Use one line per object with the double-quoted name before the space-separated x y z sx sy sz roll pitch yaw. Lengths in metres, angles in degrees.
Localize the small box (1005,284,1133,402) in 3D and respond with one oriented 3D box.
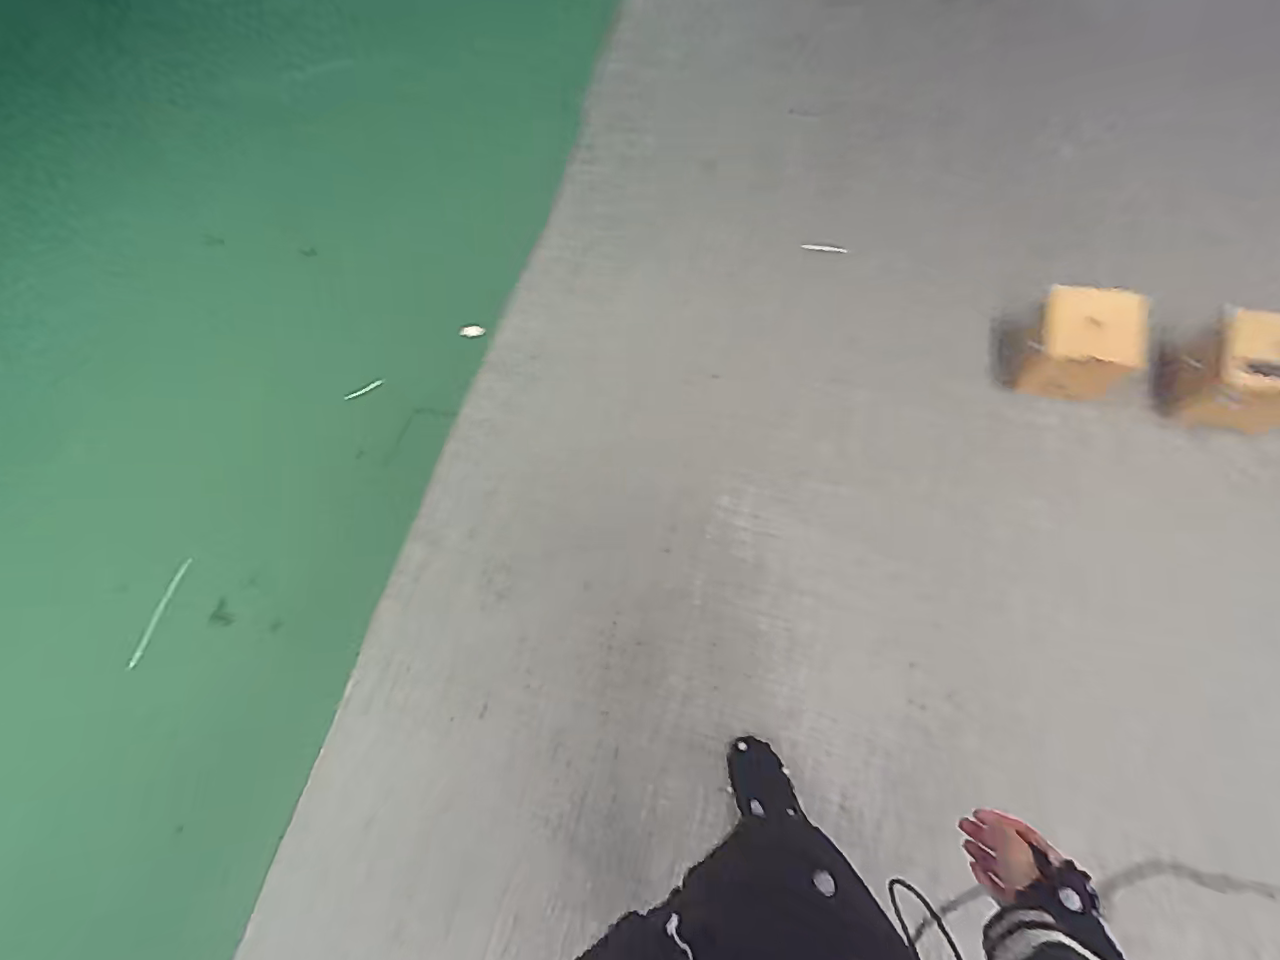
"small box" 0.930 -0.297 1.185 0.168 0.176 0.179 11 74 14
